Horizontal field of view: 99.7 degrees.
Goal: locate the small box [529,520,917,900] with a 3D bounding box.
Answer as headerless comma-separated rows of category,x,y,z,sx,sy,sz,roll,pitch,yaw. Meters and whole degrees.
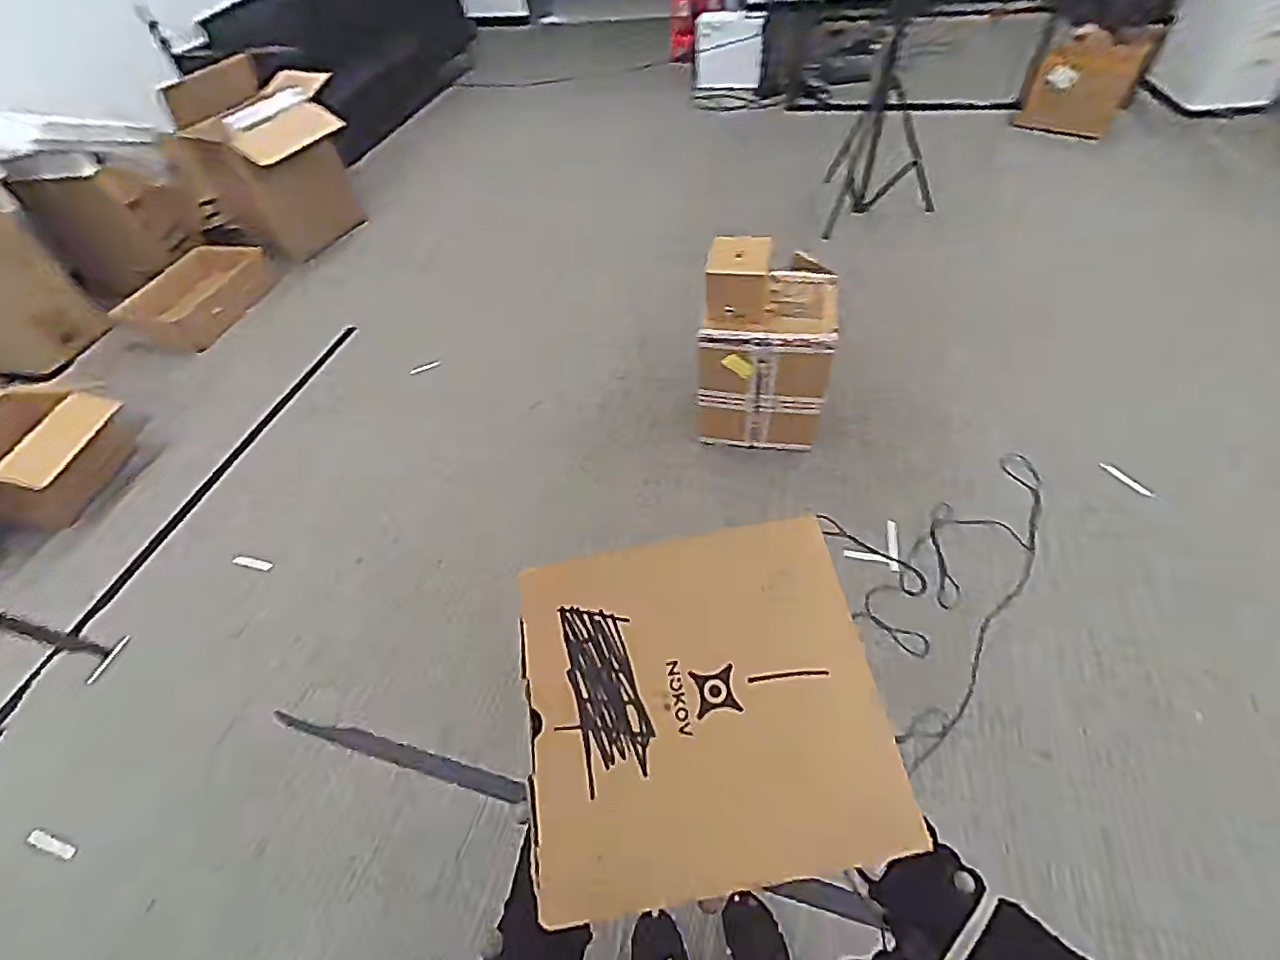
small box,0.037,0.145,0.353,0.179,0.176,0.168,-9,63,-1

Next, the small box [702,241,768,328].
small box,0.277,-0.570,1.576,0.168,0.176,0.179,7,58,14
